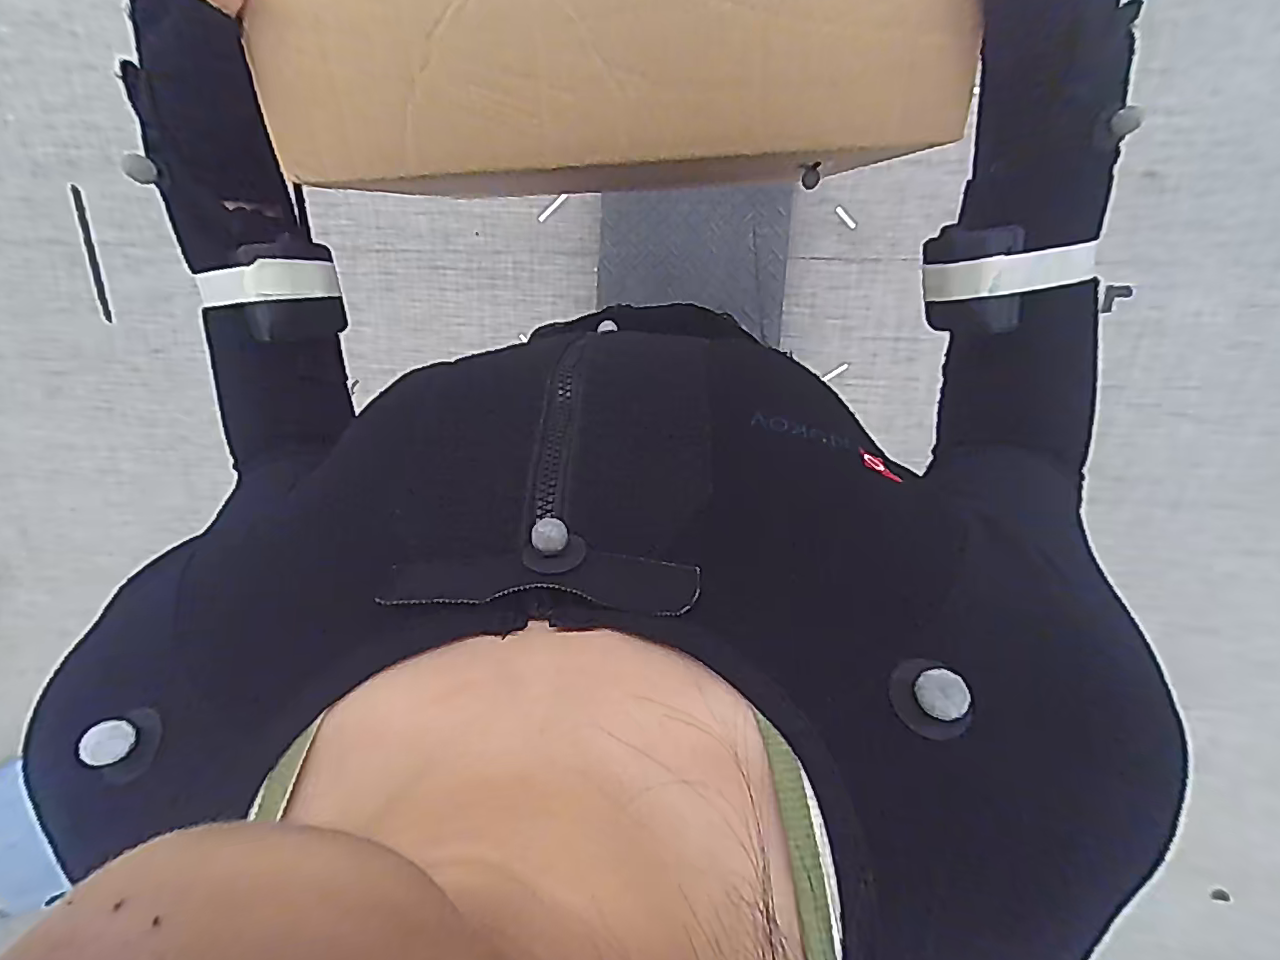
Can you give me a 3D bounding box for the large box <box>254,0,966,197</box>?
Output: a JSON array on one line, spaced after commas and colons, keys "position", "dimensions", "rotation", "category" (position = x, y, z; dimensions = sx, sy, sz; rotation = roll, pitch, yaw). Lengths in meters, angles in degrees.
[{"position": [-0.016, -0.399, 0.402], "dimensions": [0.408, 0.320, 0.320], "rotation": [-1, 115, 4], "category": "large box"}]
